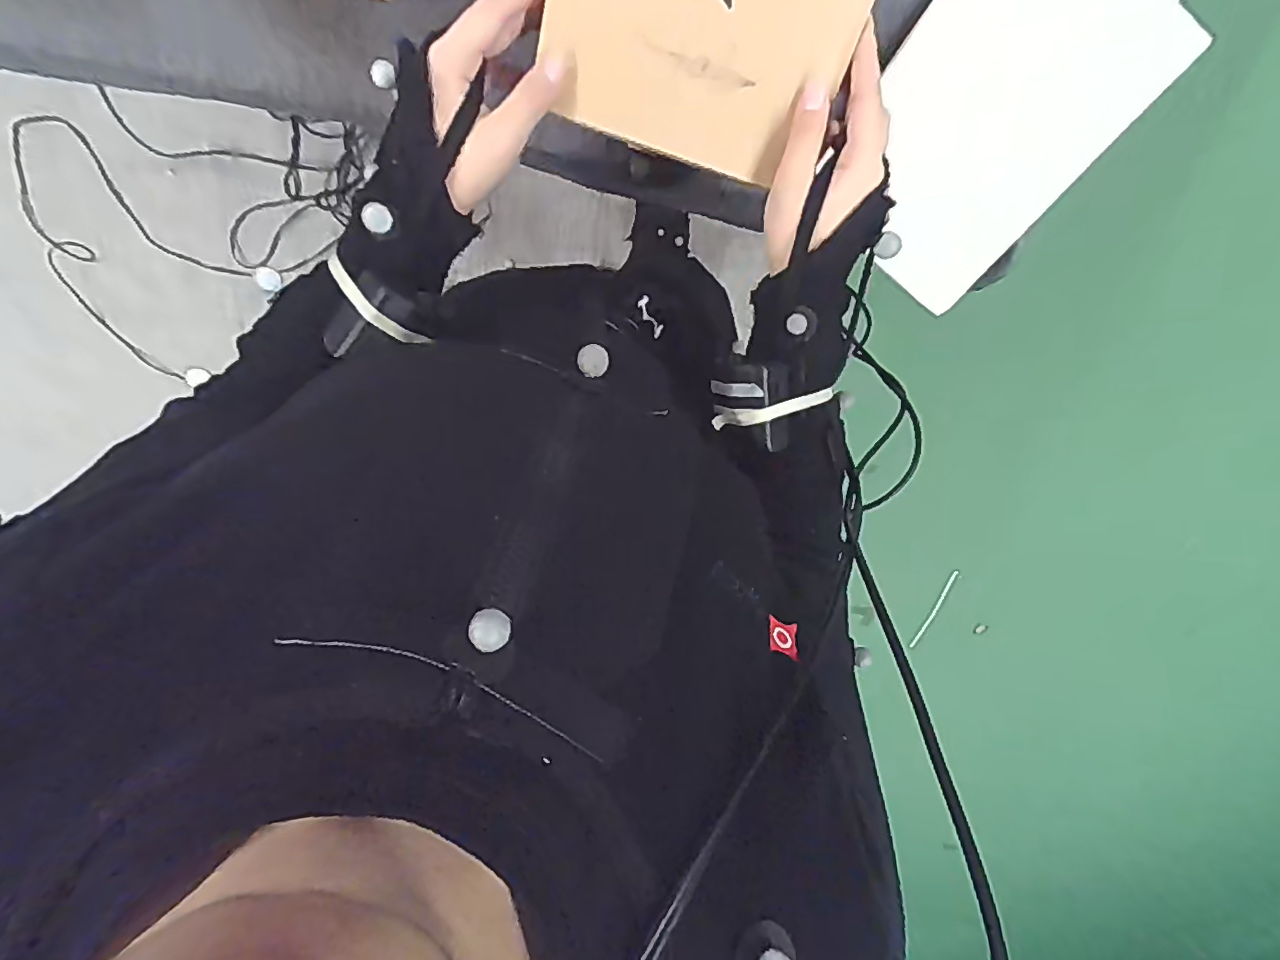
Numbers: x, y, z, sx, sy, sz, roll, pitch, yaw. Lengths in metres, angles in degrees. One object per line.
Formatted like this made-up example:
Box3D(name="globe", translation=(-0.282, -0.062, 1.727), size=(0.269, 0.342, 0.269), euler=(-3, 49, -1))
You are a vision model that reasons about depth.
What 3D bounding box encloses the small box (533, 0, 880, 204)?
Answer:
Box3D(name="small box", translation=(0.041, -0.296, 0.339), size=(0.168, 0.176, 0.179), euler=(14, 120, -8))
